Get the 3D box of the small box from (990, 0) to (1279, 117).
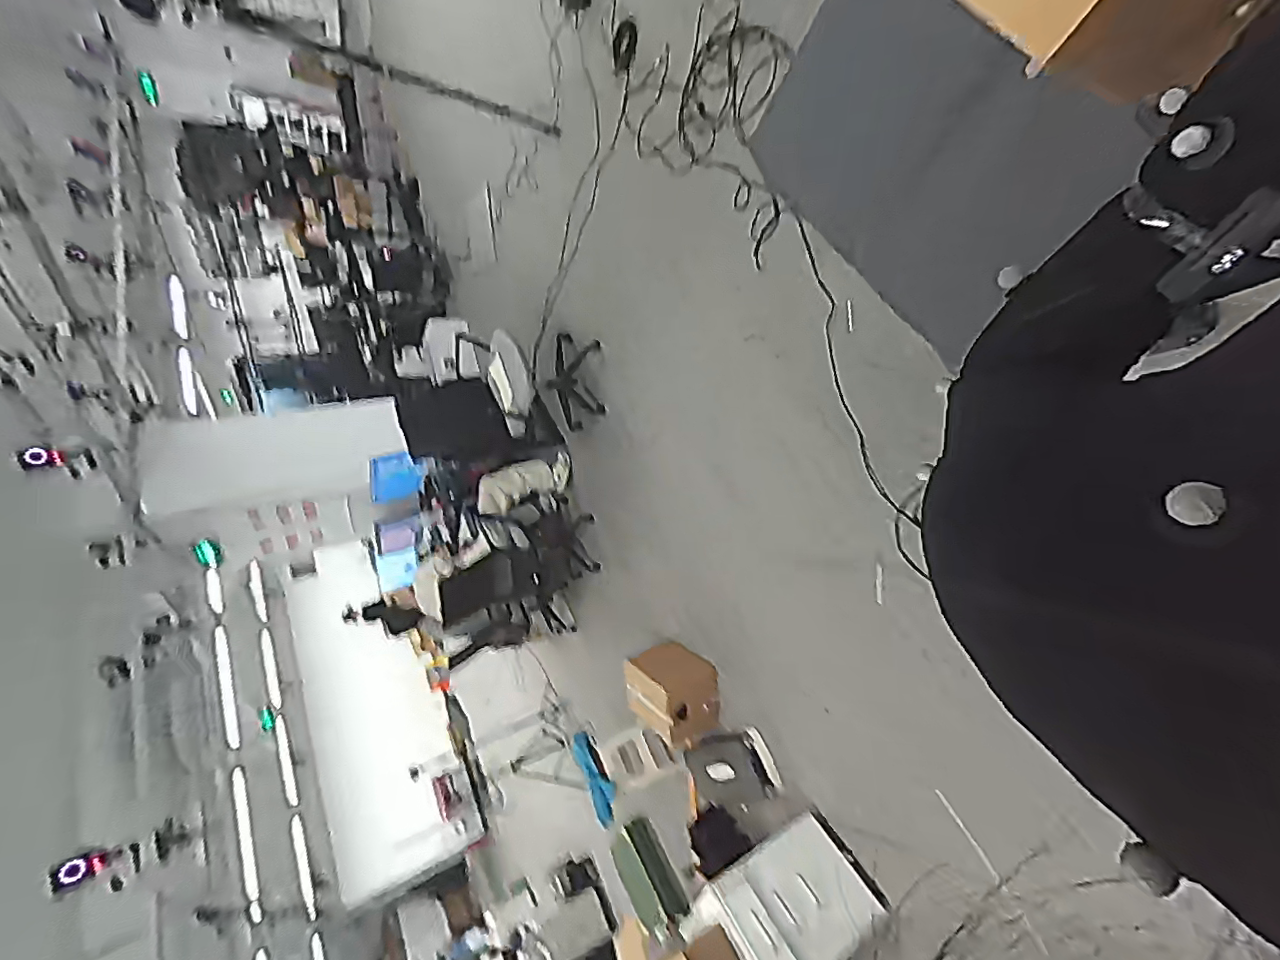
[{"bbox_3d":[0.467,-0.447,0.467,0.179,0.176,0.168,61,147,26],"label":"small box"}]
